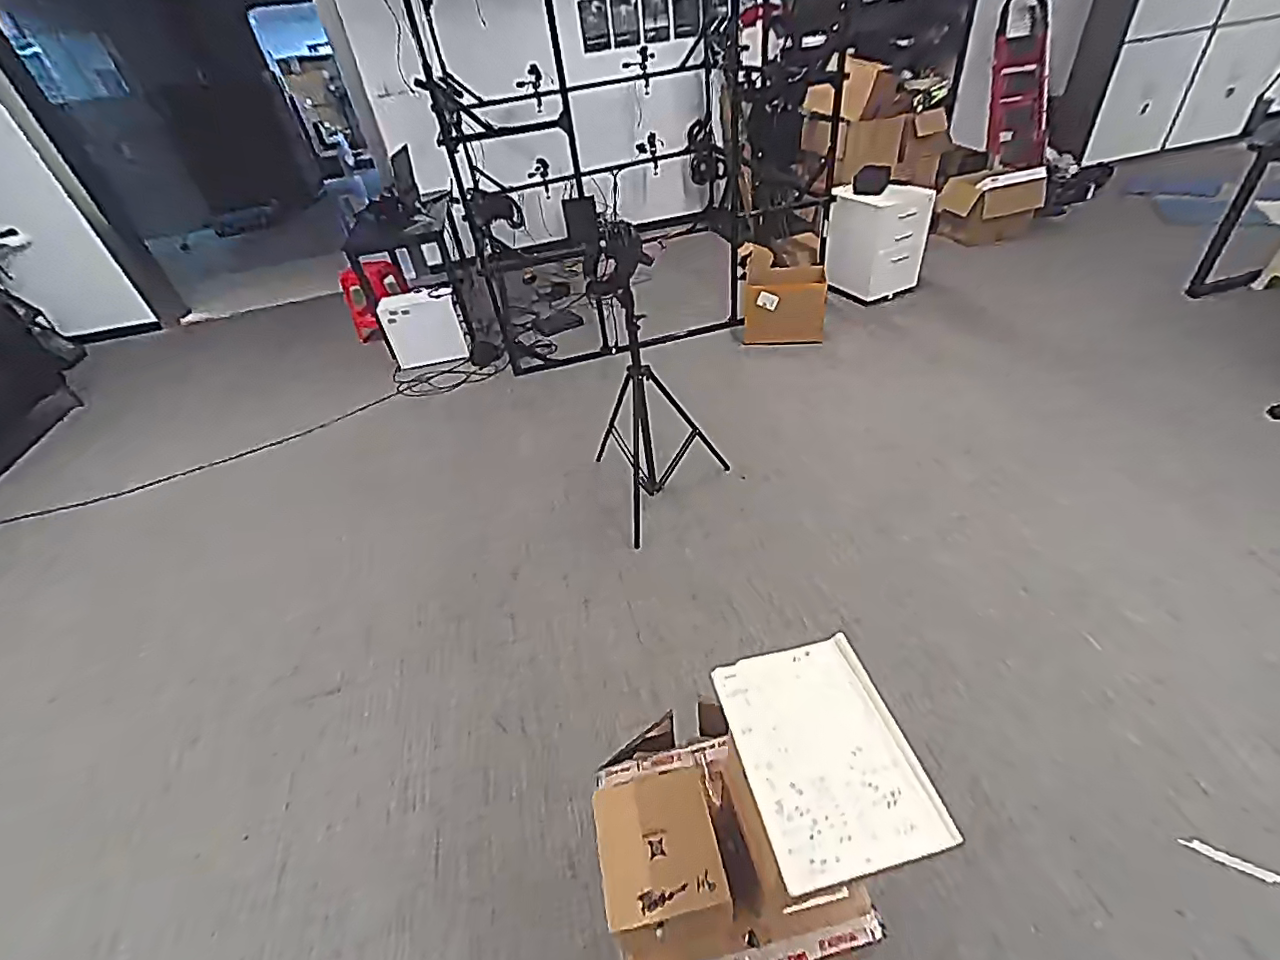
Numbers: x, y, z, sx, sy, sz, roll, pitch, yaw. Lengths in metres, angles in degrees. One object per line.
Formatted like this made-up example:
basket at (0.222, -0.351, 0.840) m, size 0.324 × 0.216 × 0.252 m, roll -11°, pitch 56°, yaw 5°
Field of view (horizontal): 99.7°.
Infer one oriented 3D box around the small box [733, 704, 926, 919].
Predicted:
small box at (0.227, 0.430, 0.705) m, size 0.168 × 0.176 × 0.179 m, roll -11°, pitch 42°, yaw -7°
